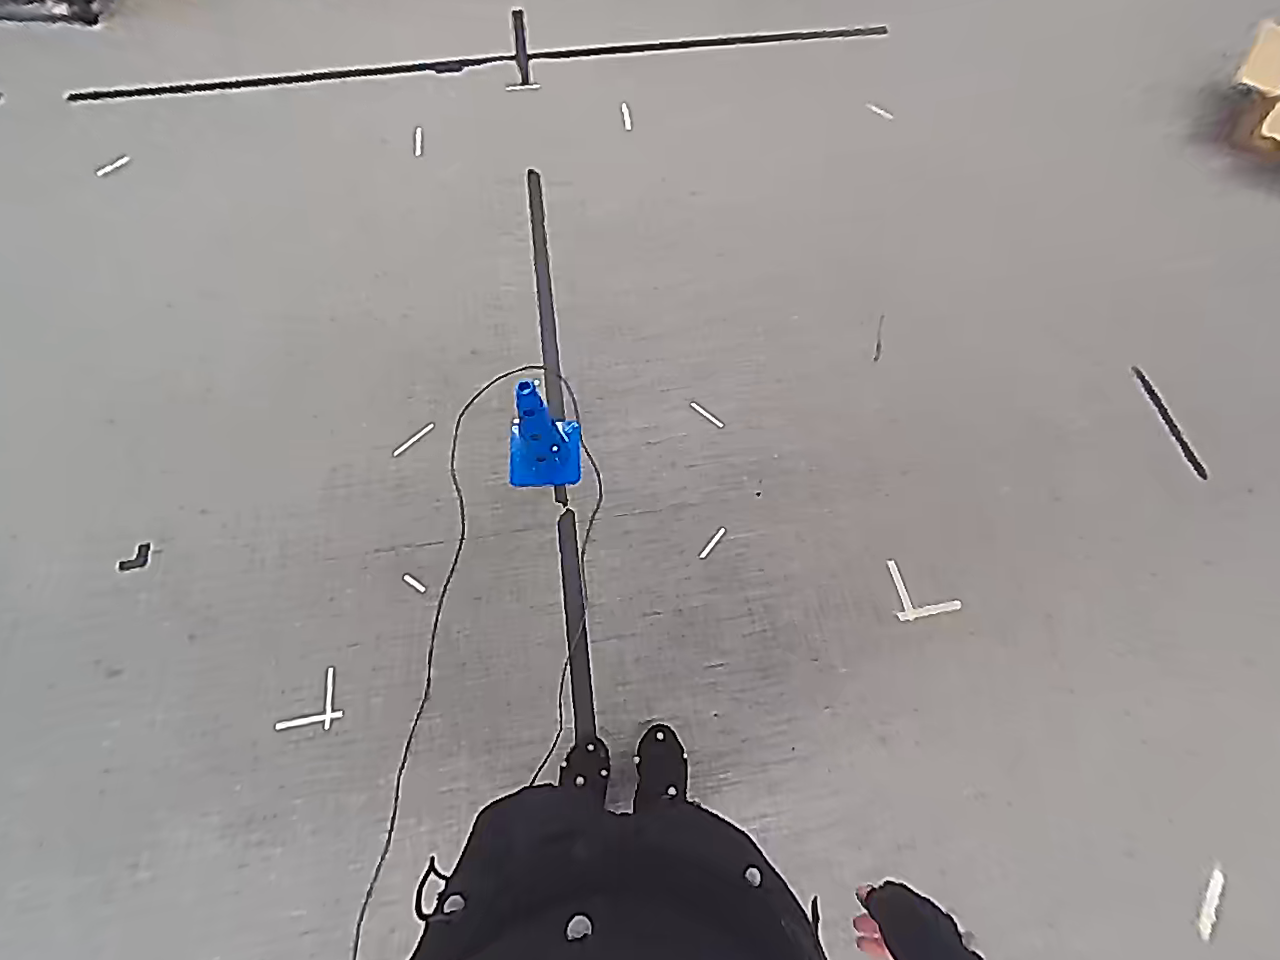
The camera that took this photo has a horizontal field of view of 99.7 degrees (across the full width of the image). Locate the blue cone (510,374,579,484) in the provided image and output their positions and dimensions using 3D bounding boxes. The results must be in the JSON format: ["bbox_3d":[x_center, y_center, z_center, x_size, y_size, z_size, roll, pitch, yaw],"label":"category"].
[{"bbox_3d":[-0.268,-0.142,1.376,0.193,0.380,0.192,-5,68,-3],"label":"blue cone"}]
